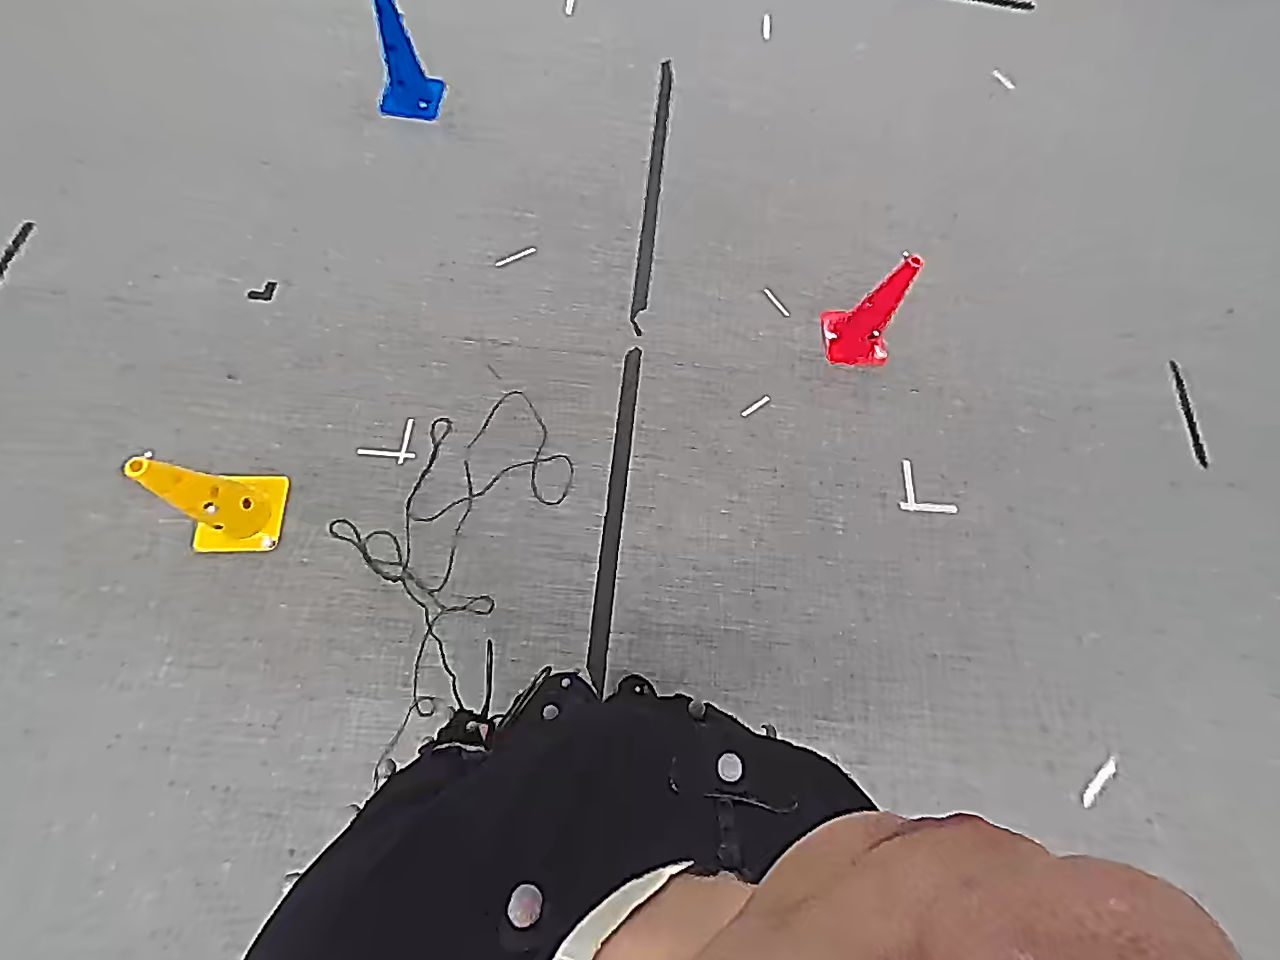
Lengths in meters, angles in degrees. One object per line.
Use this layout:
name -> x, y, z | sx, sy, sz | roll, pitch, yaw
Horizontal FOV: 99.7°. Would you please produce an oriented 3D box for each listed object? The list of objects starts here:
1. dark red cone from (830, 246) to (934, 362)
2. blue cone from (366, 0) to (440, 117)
dark red cone -> 0.713, -0.516, 1.546 | 0.201, 0.394, 0.202 | -1, 71, -4
blue cone -> -0.796, -1.401, 1.743 | 0.192, 0.380, 0.193 | 7, 70, -2
